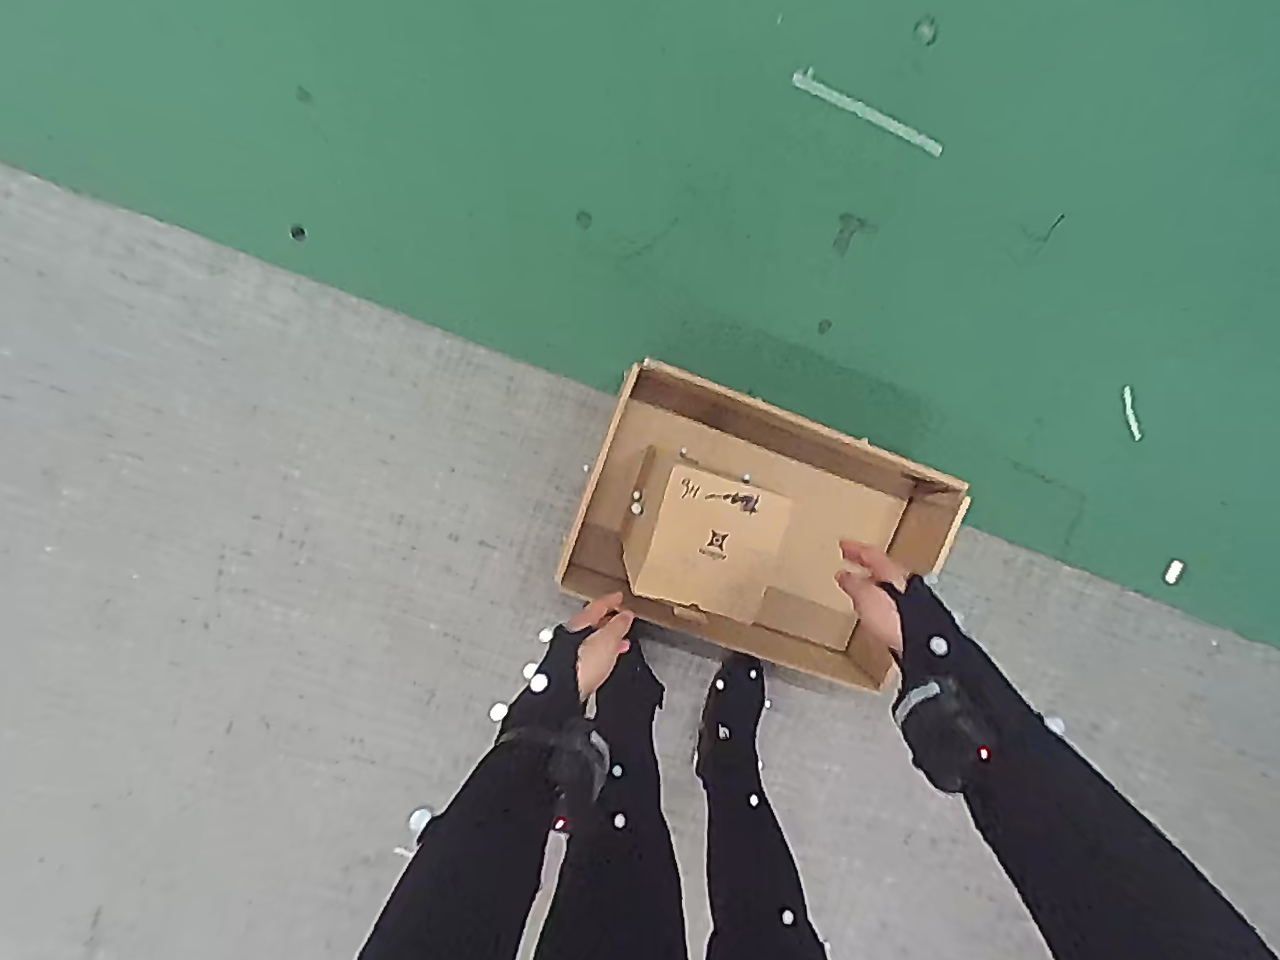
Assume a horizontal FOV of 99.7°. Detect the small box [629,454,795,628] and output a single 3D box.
[{"bbox_3d":[0.086,0.074,0.753,0.168,0.176,0.179,17,97,-8],"label":"small box"}]
